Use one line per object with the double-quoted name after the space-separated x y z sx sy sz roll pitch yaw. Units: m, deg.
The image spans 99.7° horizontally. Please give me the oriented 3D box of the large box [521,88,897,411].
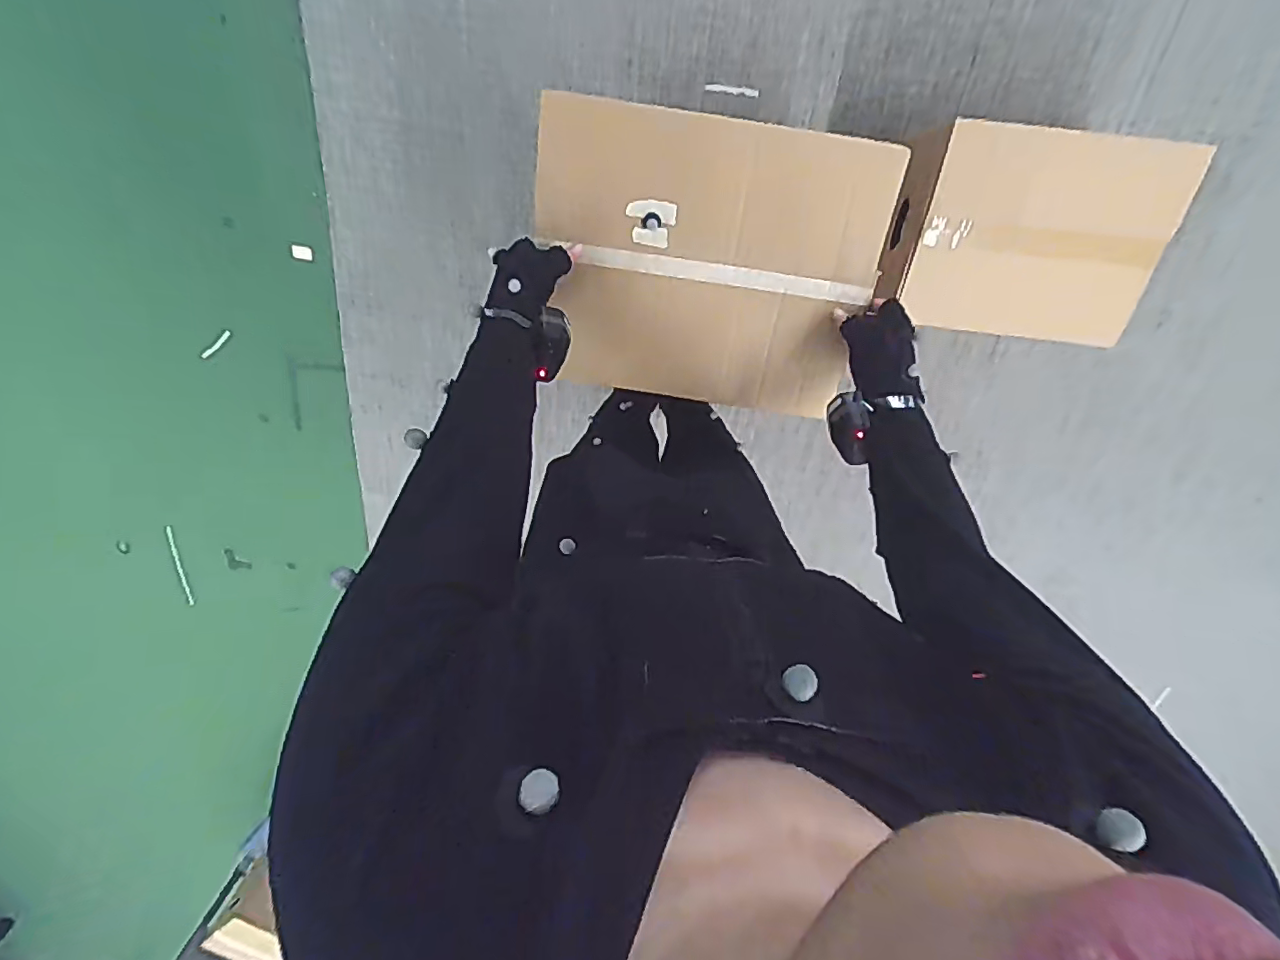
0.072 -0.320 0.773 0.408 0.320 0.320 10 116 0 "large box"
